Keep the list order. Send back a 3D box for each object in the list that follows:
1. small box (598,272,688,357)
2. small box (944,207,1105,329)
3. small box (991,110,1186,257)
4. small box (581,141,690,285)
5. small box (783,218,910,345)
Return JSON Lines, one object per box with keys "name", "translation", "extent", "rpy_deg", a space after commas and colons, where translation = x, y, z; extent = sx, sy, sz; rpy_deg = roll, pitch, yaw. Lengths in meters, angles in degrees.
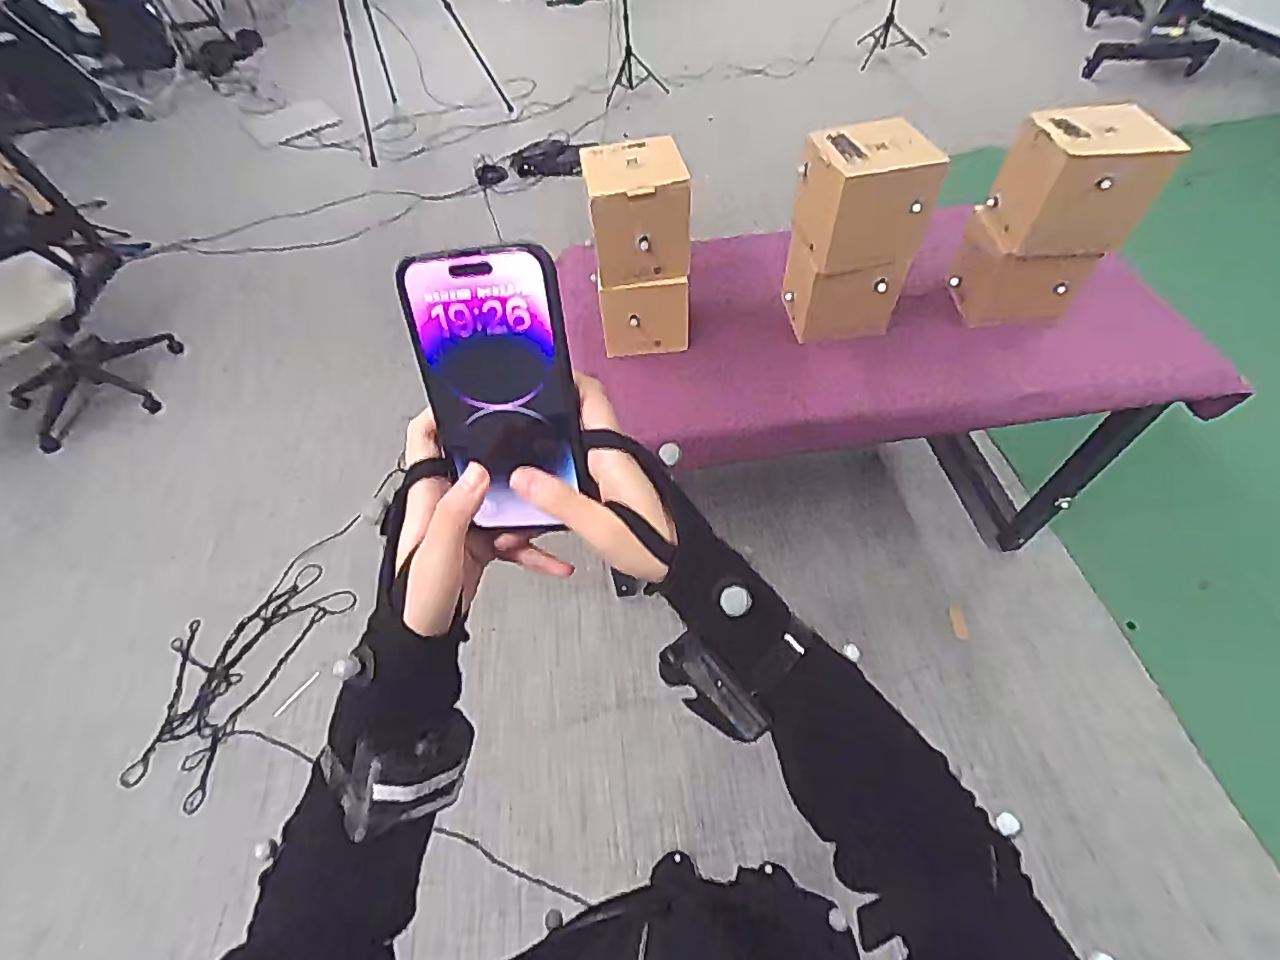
{"name": "small box", "translation": [0.008, -0.365, 1.095], "extent": [0.168, 0.176, 0.179], "rpy_deg": [-5, 54, 1]}
{"name": "small box", "translation": [0.737, -0.413, 1.060], "extent": [0.179, 0.176, 0.168], "rpy_deg": [-1, 54, 5]}
{"name": "small box", "translation": [0.735, -0.497, 0.919], "extent": [0.179, 0.176, 0.168], "rpy_deg": [-1, 54, 4]}
{"name": "small box", "translation": [-0.005, -0.468, 0.967], "extent": [0.168, 0.176, 0.179], "rpy_deg": [-9, 55, -2]}
{"name": "small box", "translation": [0.397, -0.390, 1.074], "extent": [0.179, 0.176, 0.168], "rpy_deg": [-6, 54, 1]}
